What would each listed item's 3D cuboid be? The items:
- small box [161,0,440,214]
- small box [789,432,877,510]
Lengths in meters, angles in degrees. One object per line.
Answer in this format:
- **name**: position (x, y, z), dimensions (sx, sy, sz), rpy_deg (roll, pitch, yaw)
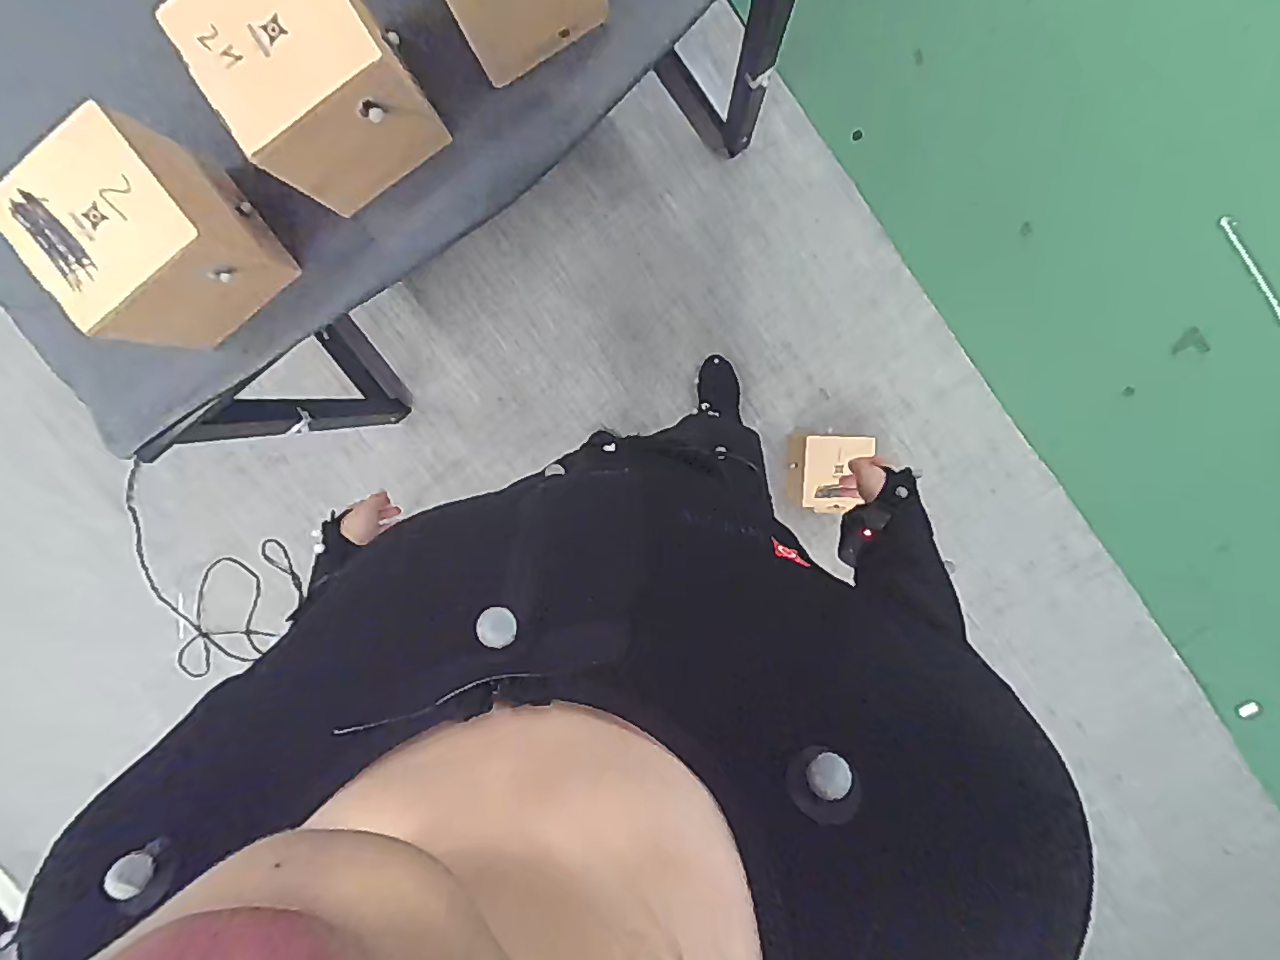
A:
- **small box**: position (-0.354, -0.442, 0.608), dimensions (0.179, 0.176, 0.168), rpy_deg (-31, 94, 8)
- **small box**: position (0.479, -0.027, 1.369), dimensions (0.168, 0.176, 0.179), rpy_deg (2, 98, 3)
